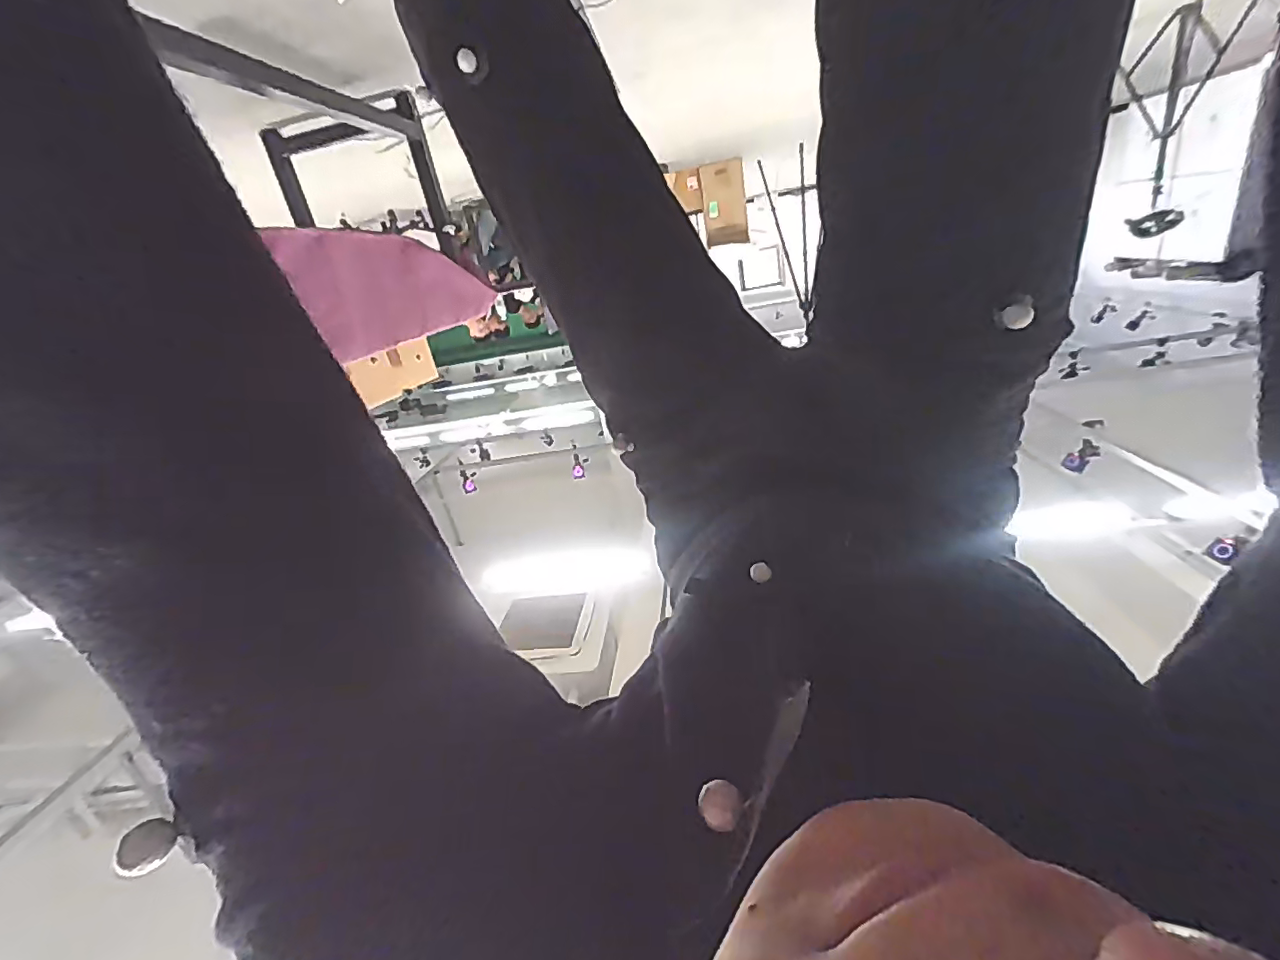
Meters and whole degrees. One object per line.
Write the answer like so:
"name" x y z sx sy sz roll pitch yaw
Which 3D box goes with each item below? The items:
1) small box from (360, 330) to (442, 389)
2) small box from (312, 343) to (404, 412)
"small box" -0.831 -0.420 1.885 0.179 0.176 0.168 -3 -157 17
"small box" -0.868 -0.316 1.657 0.179 0.176 0.168 -3 -155 18
